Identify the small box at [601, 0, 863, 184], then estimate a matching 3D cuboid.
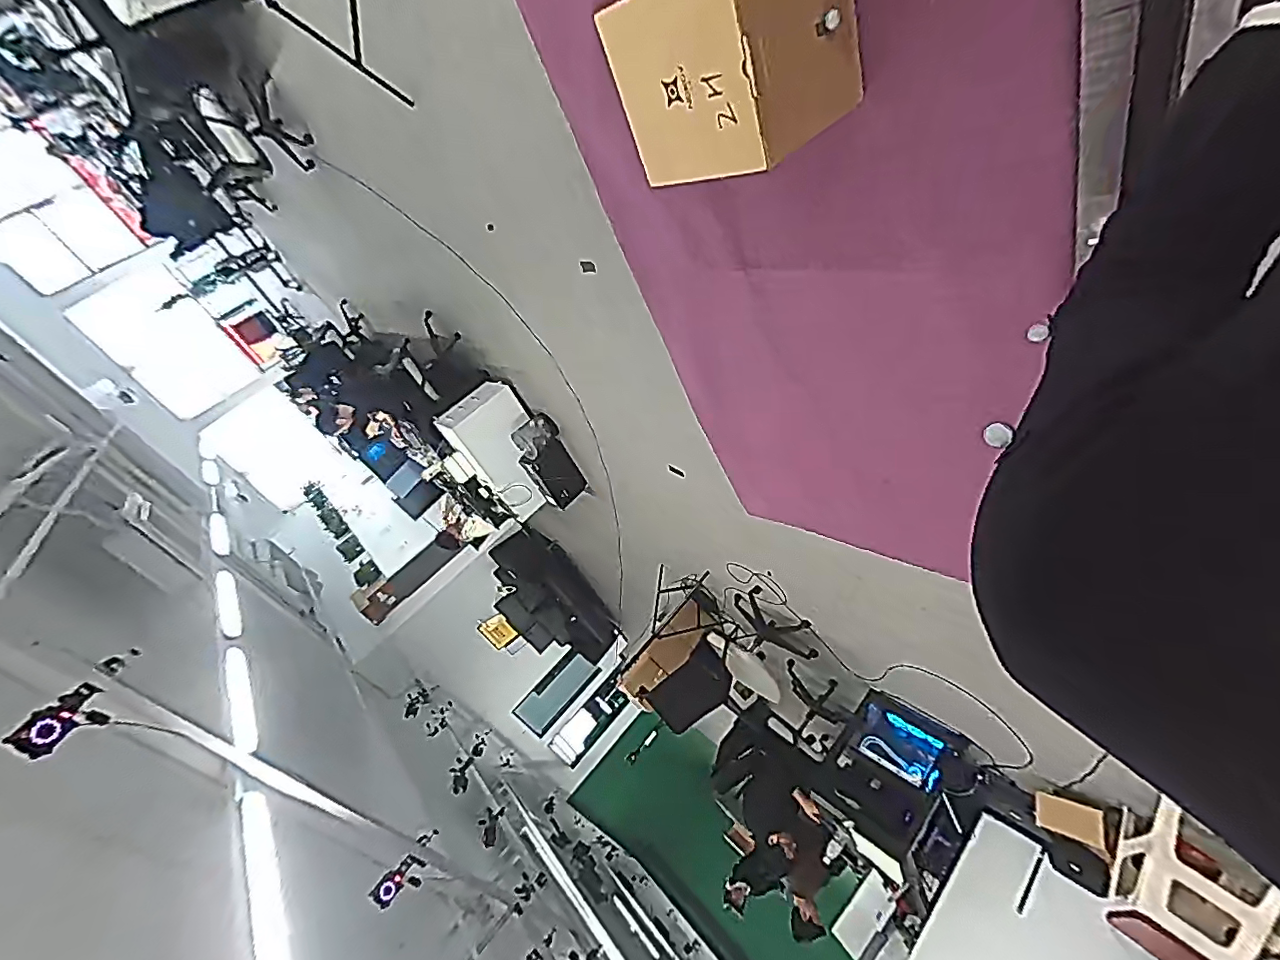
[{"bbox_3d":[0.097,-0.429,0.551,0.179,0.176,0.168,25,151,46],"label":"small box"}]
